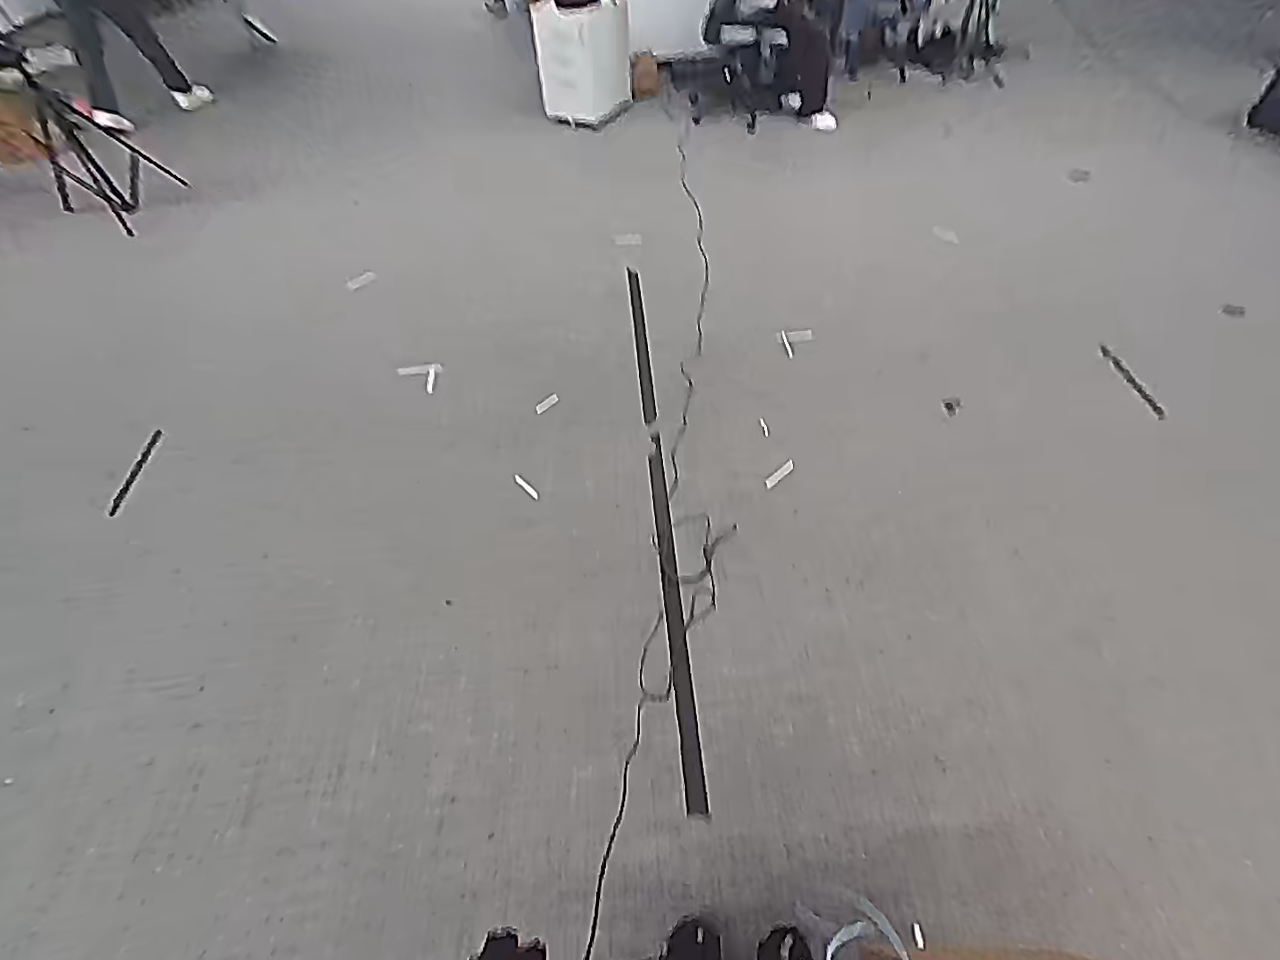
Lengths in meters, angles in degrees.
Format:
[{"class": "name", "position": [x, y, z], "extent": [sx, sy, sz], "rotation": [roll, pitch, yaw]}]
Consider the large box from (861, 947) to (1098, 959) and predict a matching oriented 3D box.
[{"class": "large box", "position": [0.507, 0.750, 0.605], "extent": [0.320, 0.408, 0.320], "rotation": [4, 55, -2]}]
